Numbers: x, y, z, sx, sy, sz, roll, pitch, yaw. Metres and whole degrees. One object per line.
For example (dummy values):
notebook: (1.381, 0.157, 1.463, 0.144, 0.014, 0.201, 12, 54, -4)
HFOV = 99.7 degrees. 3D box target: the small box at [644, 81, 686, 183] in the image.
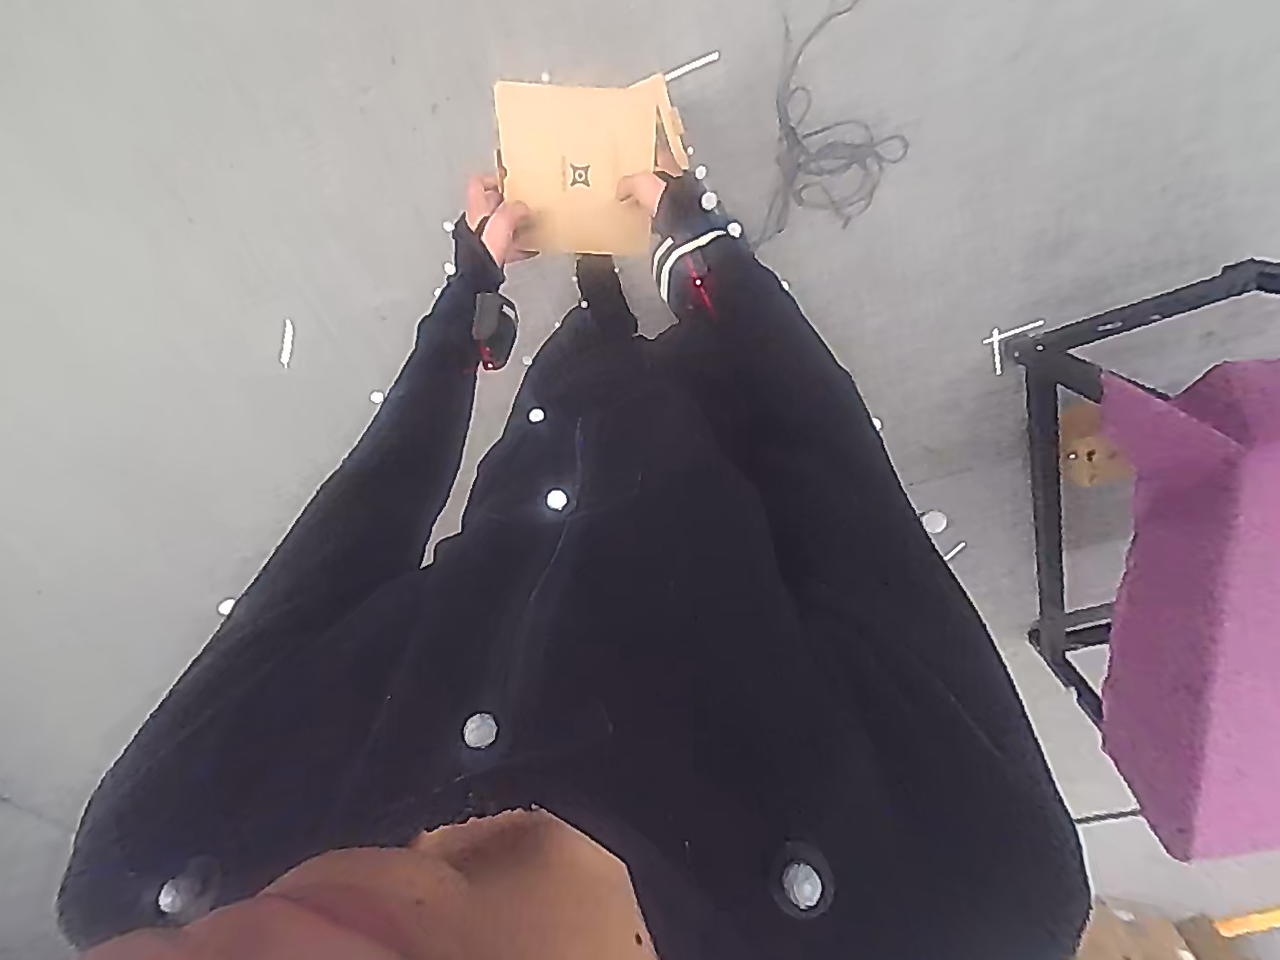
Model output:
small box: (-0.001, -0.764, 1.228, 0.179, 0.176, 0.168, -18, 116, 13)

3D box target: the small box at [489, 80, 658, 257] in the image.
small box: (-0.071, -0.381, 0.667, 0.179, 0.176, 0.168, 3, 123, 1)
